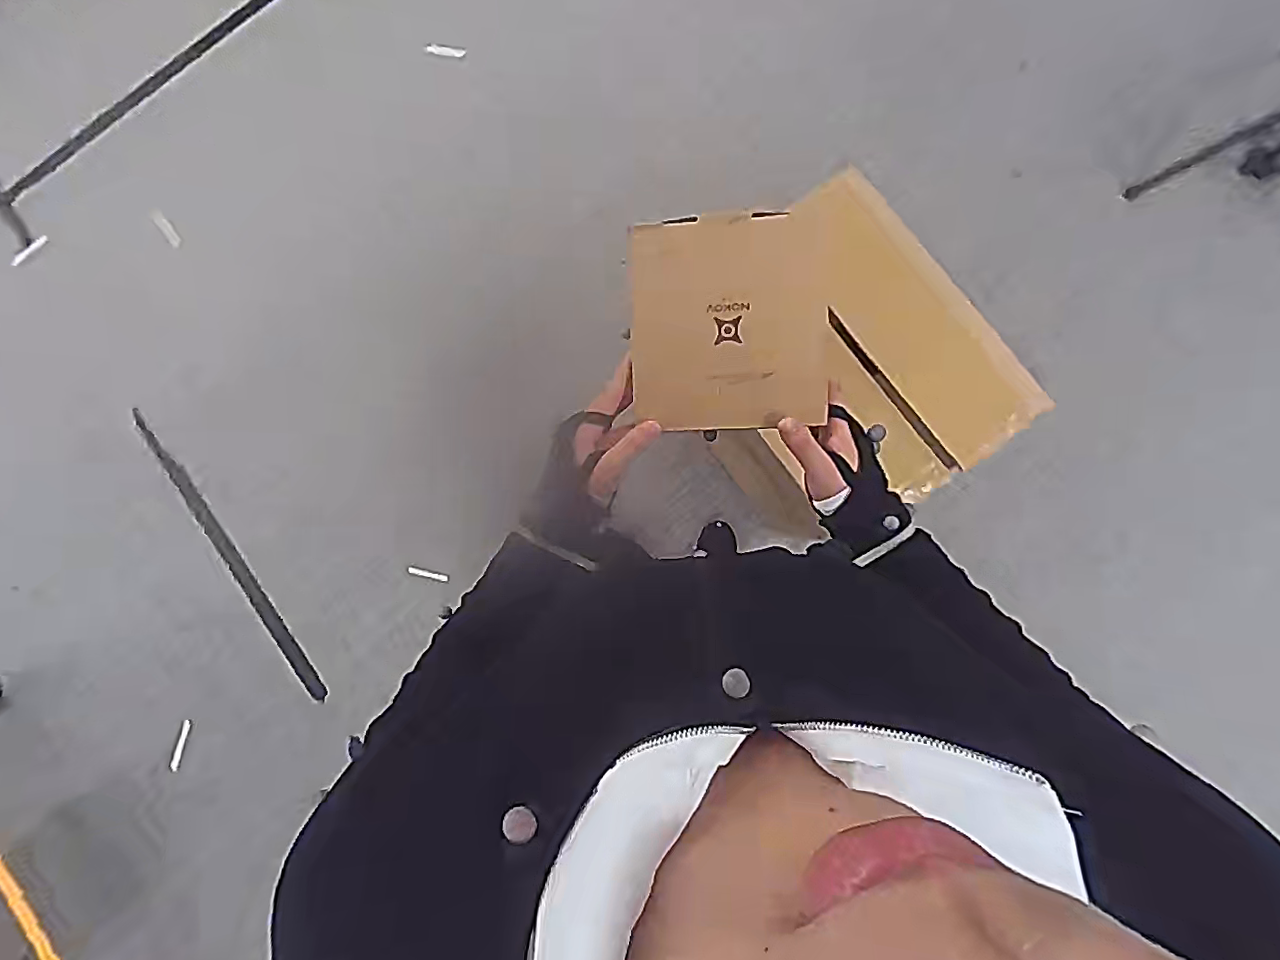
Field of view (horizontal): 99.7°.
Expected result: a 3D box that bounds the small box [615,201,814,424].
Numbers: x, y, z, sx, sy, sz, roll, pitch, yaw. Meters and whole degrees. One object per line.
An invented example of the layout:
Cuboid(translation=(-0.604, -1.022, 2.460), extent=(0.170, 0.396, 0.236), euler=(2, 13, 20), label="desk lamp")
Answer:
Cuboid(translation=(0.068, -0.147, 0.532), extent=(0.168, 0.176, 0.179), euler=(-3, 98, 6), label="small box")
